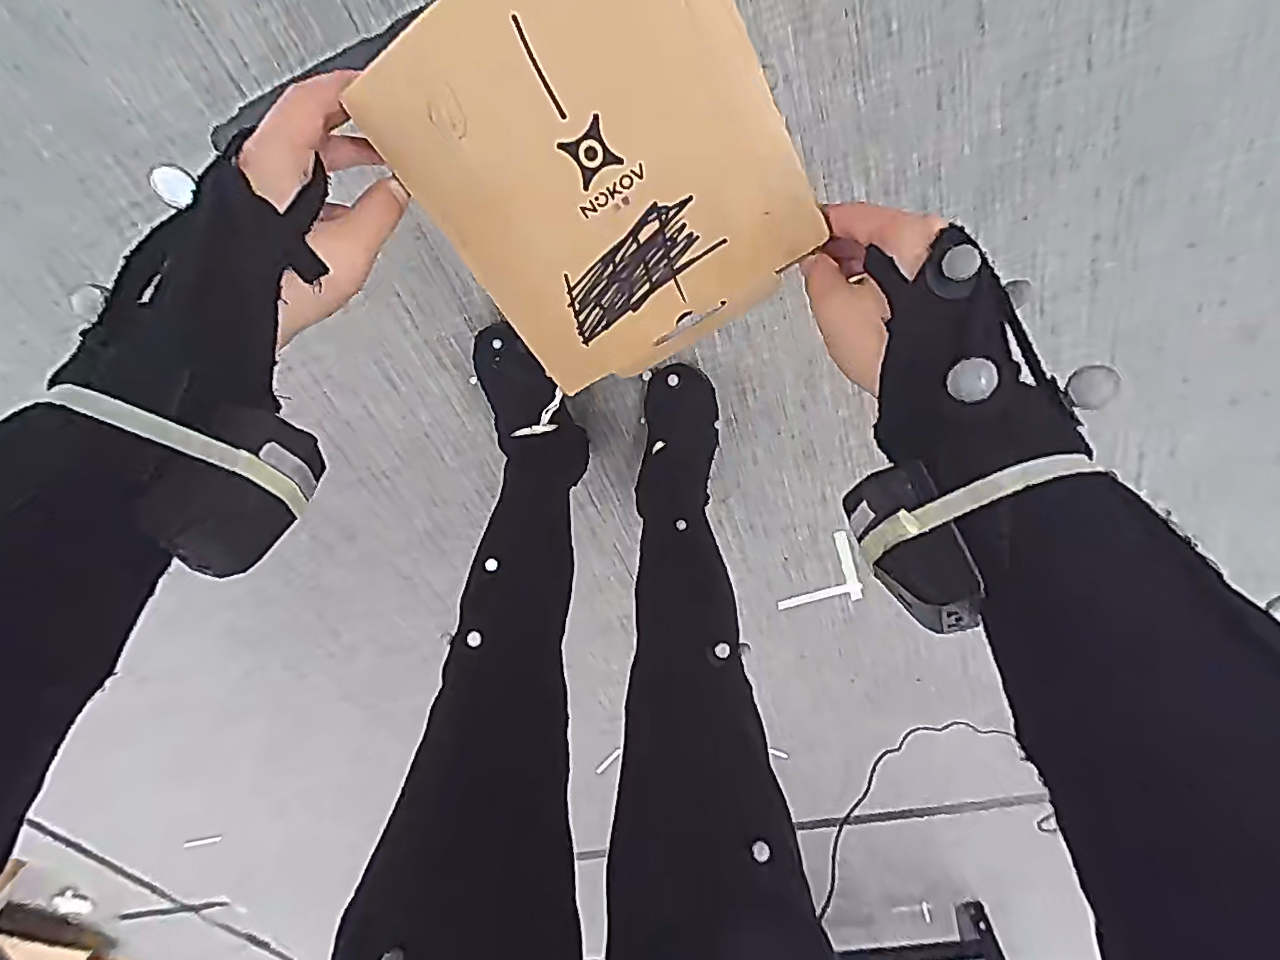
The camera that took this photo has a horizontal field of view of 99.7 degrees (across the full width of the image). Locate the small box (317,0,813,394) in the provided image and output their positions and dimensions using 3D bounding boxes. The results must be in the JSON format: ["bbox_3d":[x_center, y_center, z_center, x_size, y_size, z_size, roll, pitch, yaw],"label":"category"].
[{"bbox_3d":[-0.026,-0.188,0.314,0.168,0.176,0.179,-28,120,17],"label":"small box"}]
